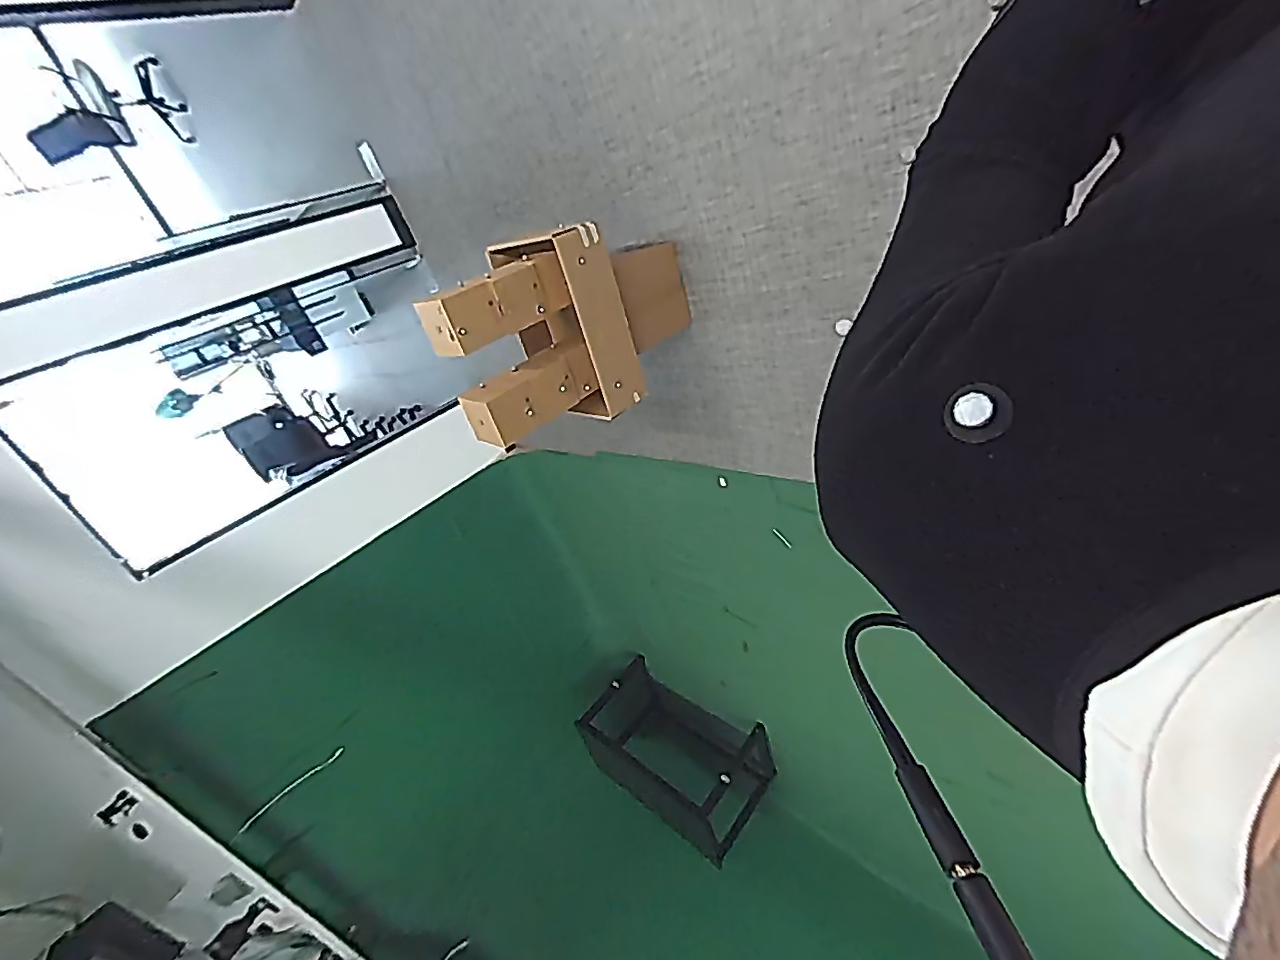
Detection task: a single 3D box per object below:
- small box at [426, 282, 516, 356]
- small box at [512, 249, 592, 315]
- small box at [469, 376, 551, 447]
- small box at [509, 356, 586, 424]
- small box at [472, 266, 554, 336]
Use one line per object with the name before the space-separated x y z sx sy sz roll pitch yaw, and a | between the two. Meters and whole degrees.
small box | -0.506 -0.485 1.630 0.179 0.176 0.168 13 132 44
small box | -0.290 -0.659 1.807 0.179 0.176 0.168 14 132 43
small box | -0.423 -0.231 1.779 0.179 0.176 0.168 17 135 42
small box | -0.316 -0.316 1.867 0.179 0.176 0.168 17 135 42
small box | -0.394 -0.570 1.715 0.179 0.176 0.168 16 133 42
